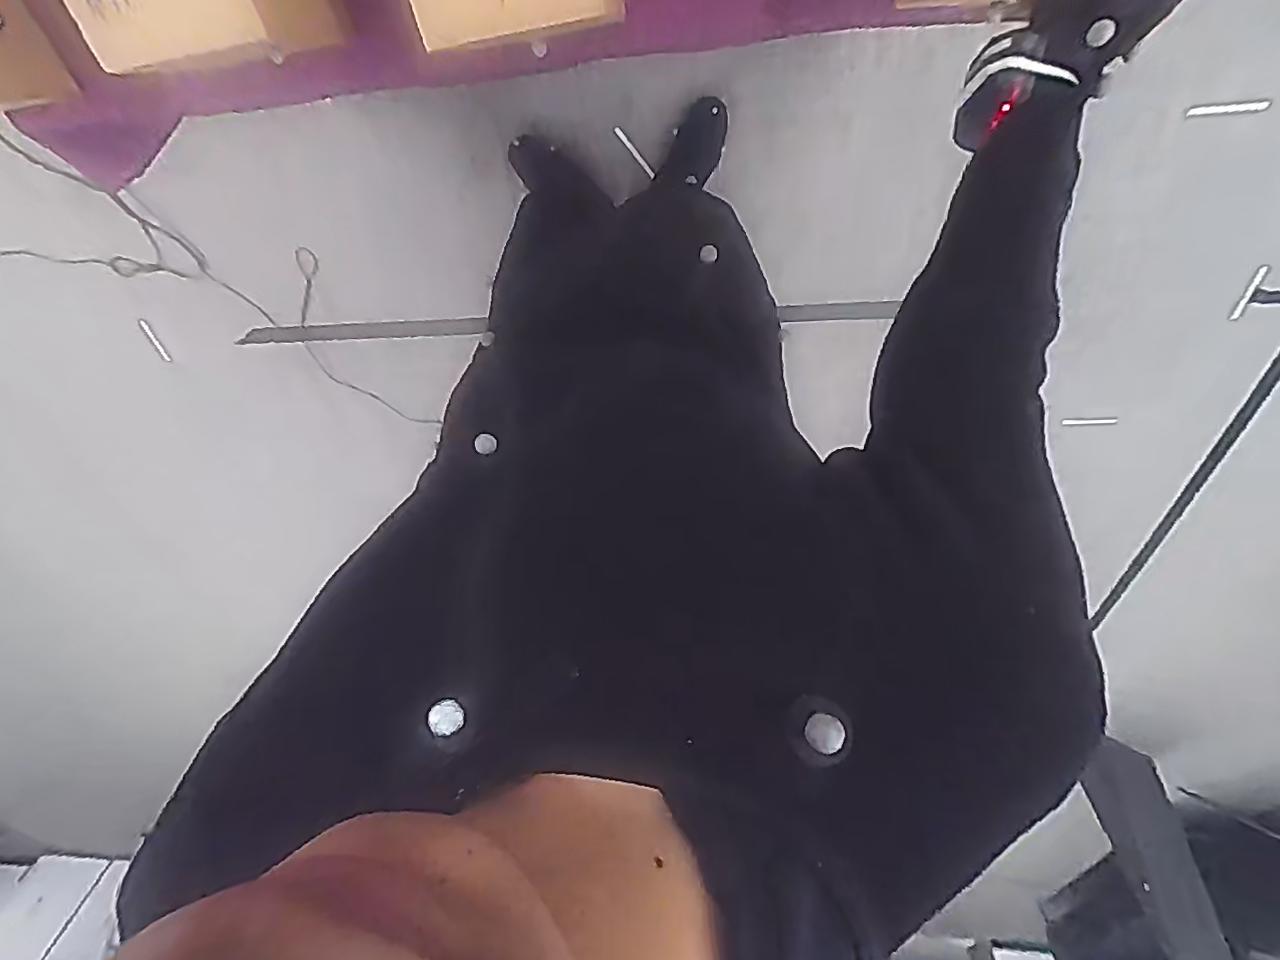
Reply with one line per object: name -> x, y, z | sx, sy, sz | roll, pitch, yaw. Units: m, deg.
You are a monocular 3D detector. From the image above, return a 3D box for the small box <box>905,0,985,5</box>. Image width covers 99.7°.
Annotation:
small box -> 0.322, -0.497, 0.423 | 0.168, 0.176, 0.179 | 2, 129, 6

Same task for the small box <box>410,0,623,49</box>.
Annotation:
small box -> -0.114, -0.499, 0.472 | 0.168, 0.176, 0.179 | -4, 129, 10

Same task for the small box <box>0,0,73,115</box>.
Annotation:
small box -> -0.782, -0.476, 0.562 | 0.179, 0.176, 0.168 | -5, 129, 8
